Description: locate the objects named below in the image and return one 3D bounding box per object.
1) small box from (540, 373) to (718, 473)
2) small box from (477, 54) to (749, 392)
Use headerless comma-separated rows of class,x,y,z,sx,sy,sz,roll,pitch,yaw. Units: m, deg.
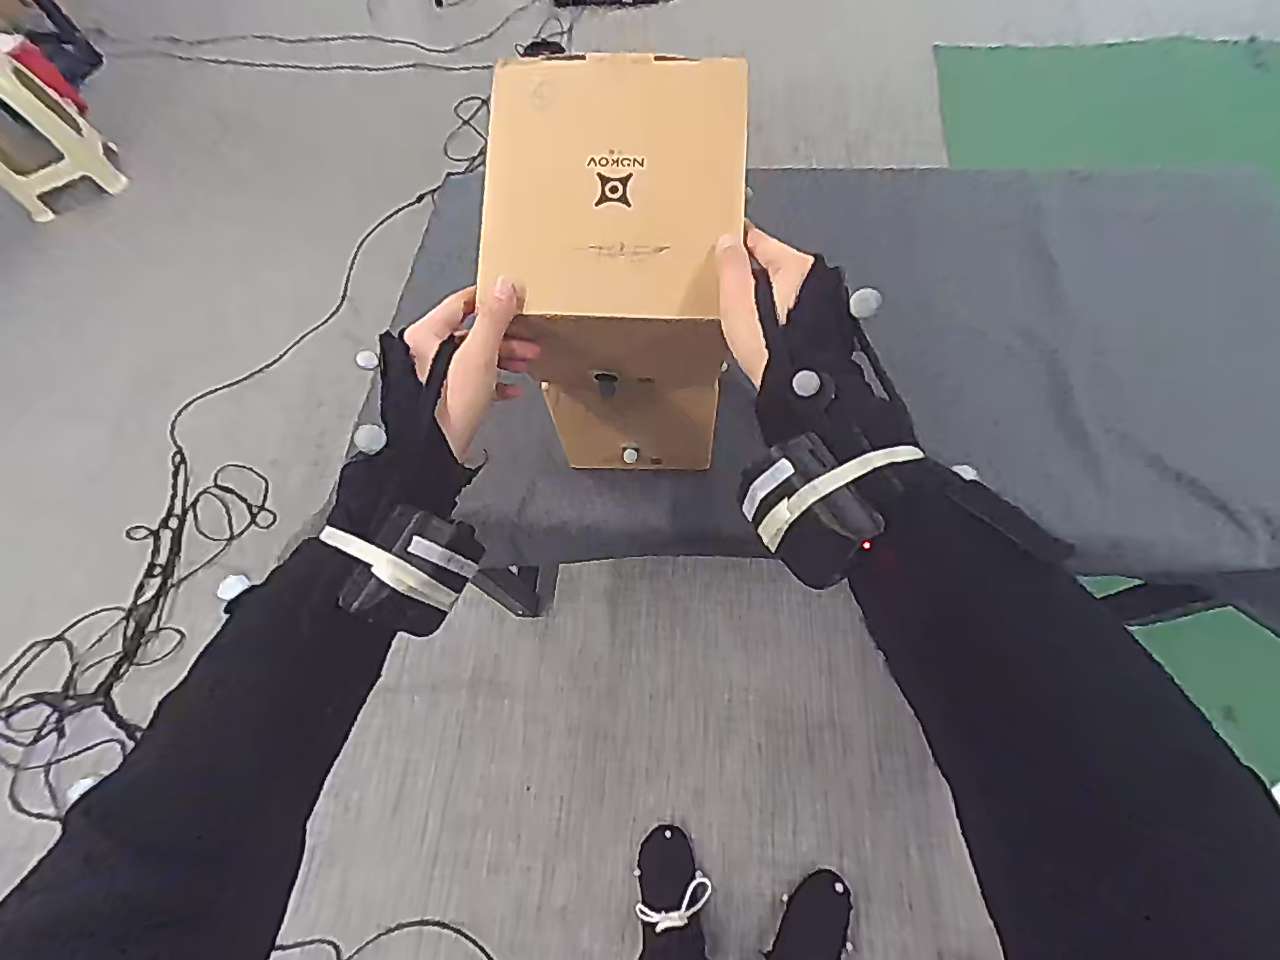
small box,-0.002,-0.124,0.599,0.168,0.176,0.179,1,65,5
small box,-0.013,-0.177,0.415,0.168,0.176,0.179,1,85,3
